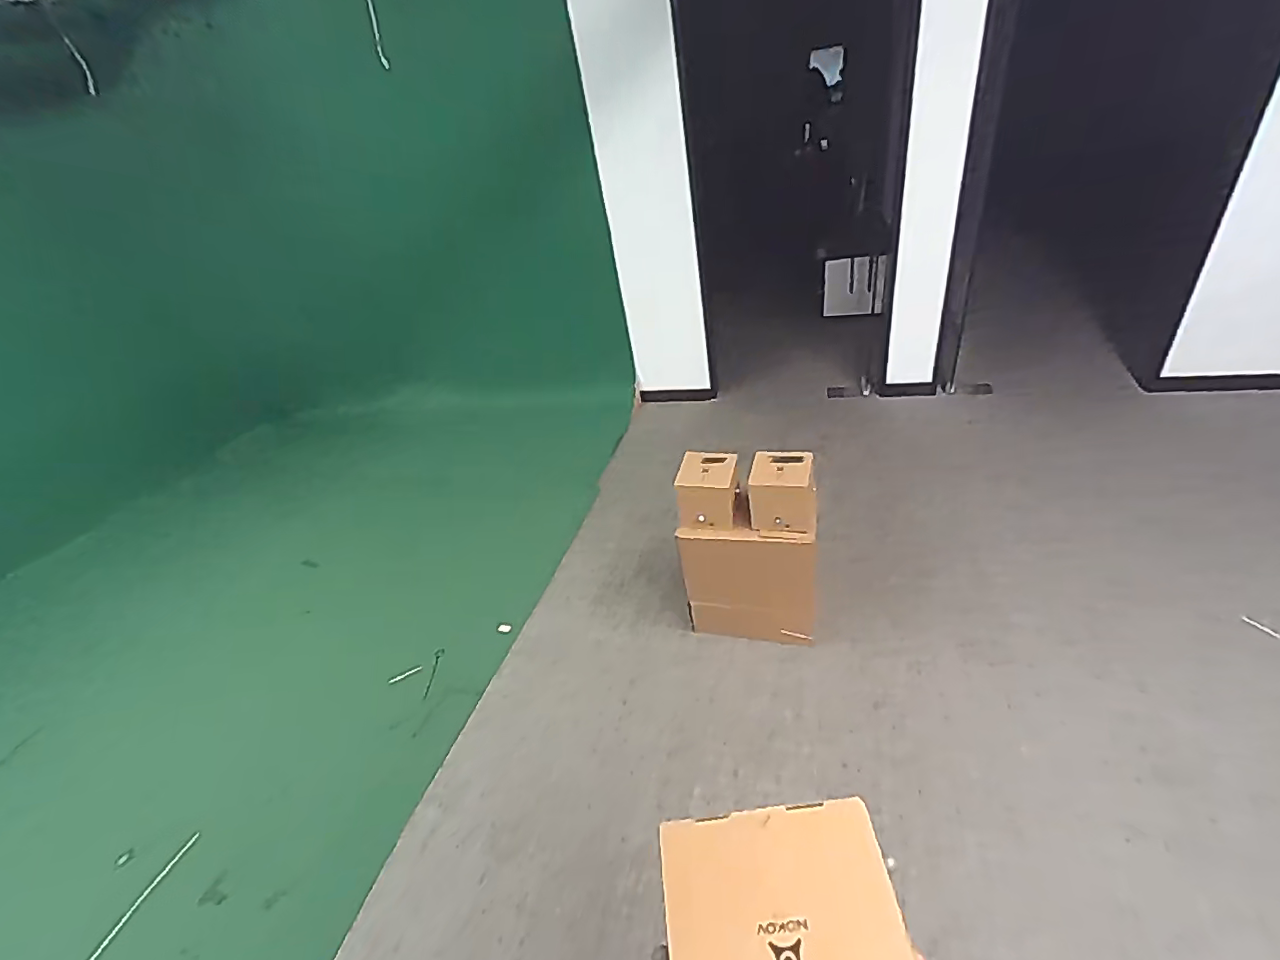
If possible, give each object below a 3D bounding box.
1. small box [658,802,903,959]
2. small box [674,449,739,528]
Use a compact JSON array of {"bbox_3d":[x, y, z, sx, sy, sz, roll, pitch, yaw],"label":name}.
[{"bbox_3d":[0.114,0.387,0.434,0.168,0.176,0.179,-10,43,5],"label":"small box"},{"bbox_3d":[0.213,0.025,1.672,0.168,0.176,0.179,3,40,19],"label":"small box"}]
